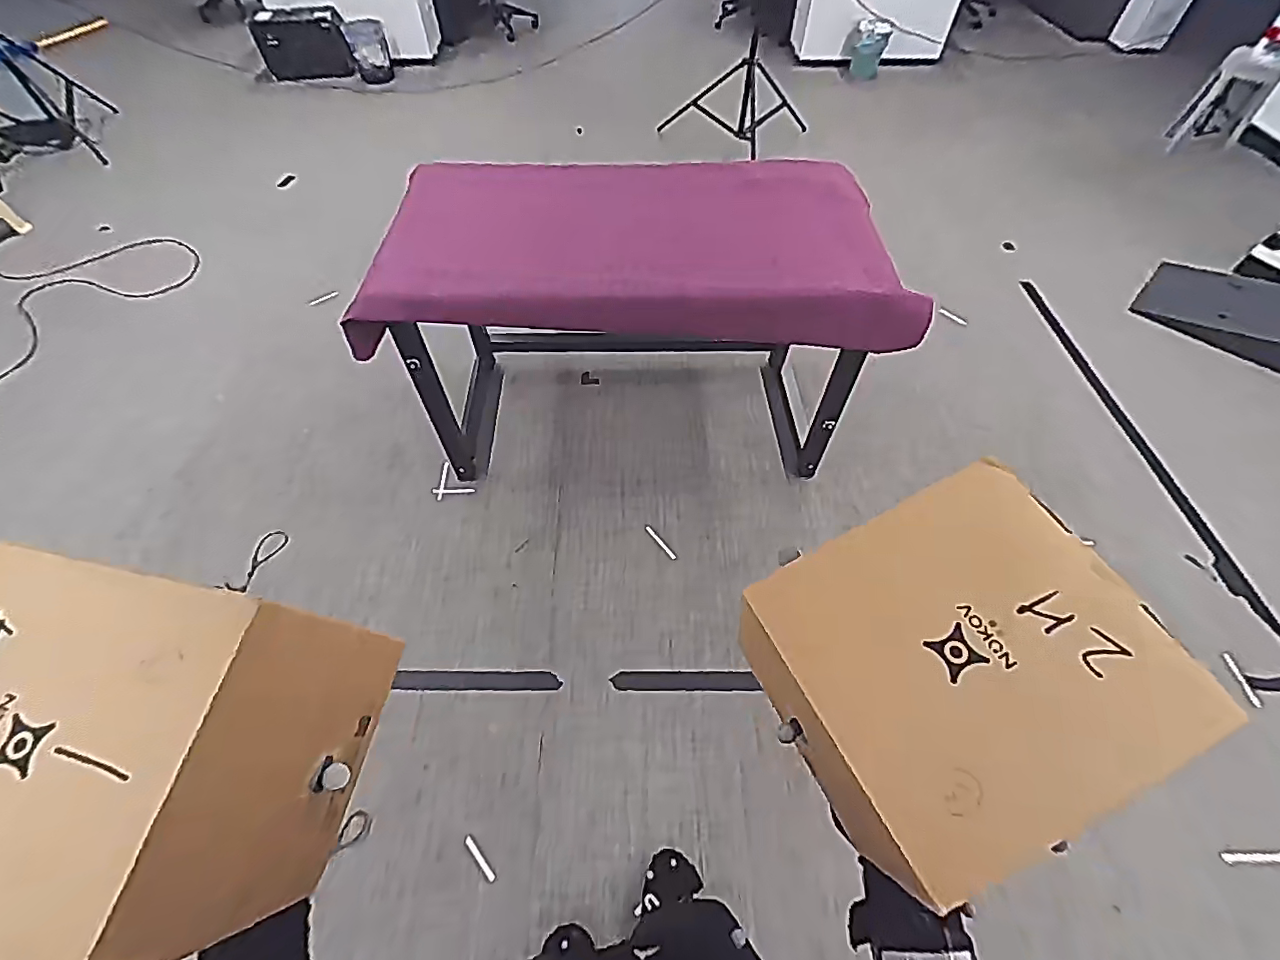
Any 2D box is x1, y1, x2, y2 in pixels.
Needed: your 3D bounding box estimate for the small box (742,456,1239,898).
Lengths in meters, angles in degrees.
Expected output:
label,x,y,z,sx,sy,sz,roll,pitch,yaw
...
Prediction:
label,x,y,z,sx,sy,sz,roll,pitch,yaw
small box,0.182,0.121,0.352,0.179,0.176,0.168,-28,64,-6
